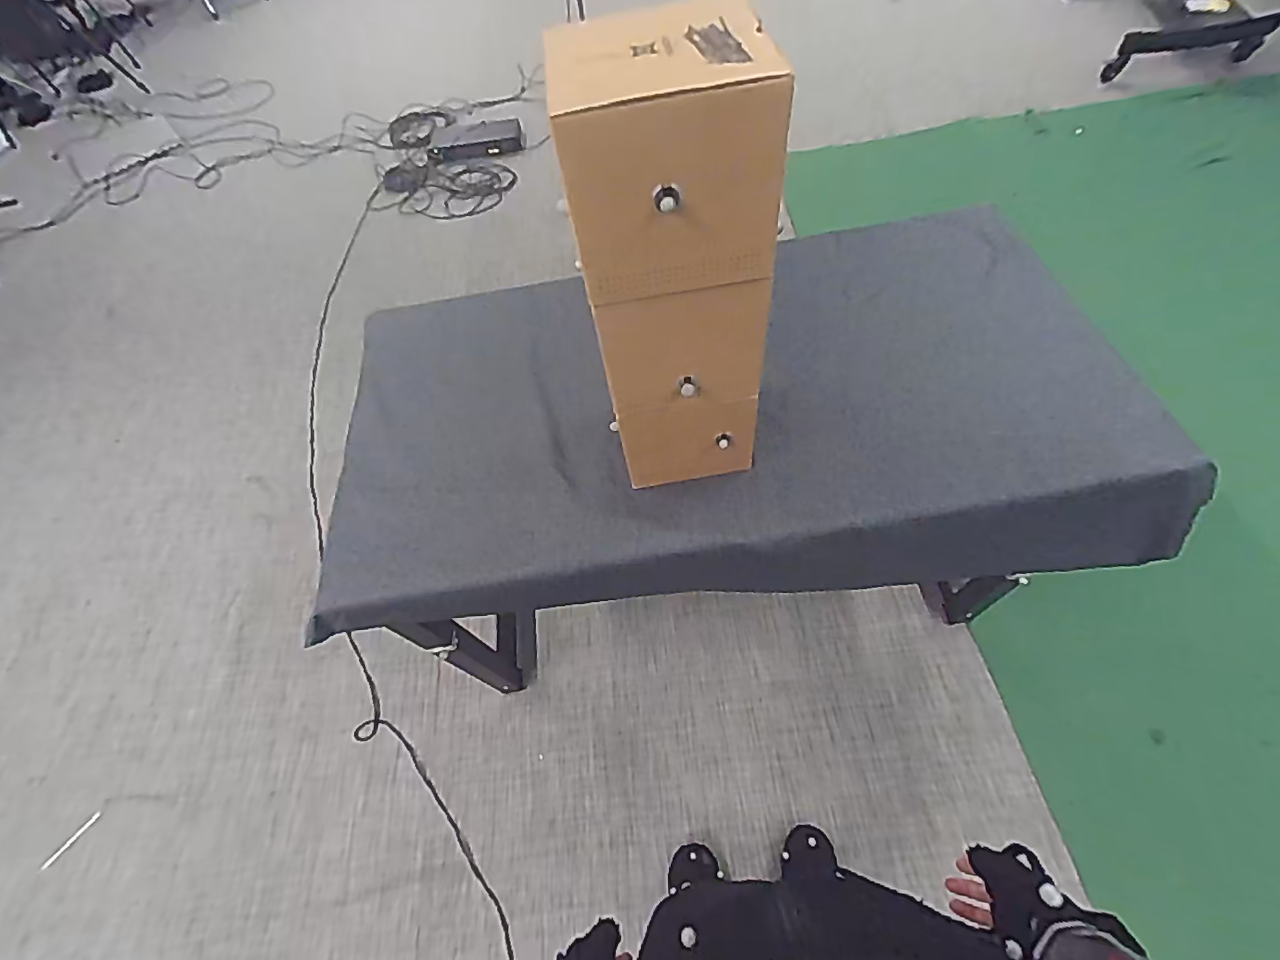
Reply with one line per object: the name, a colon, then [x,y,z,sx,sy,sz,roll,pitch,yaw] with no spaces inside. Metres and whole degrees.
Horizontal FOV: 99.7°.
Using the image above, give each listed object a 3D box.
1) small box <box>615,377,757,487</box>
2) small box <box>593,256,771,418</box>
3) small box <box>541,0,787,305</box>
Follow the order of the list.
small box: [0.056,-0.111,0.763,0.179,0.176,0.168,-11,57,2]
small box: [0.037,-0.196,0.628,0.179,0.176,0.168,-12,58,1]
small box: [0.018,-0.285,0.487,0.179,0.176,0.168,-10,57,3]
